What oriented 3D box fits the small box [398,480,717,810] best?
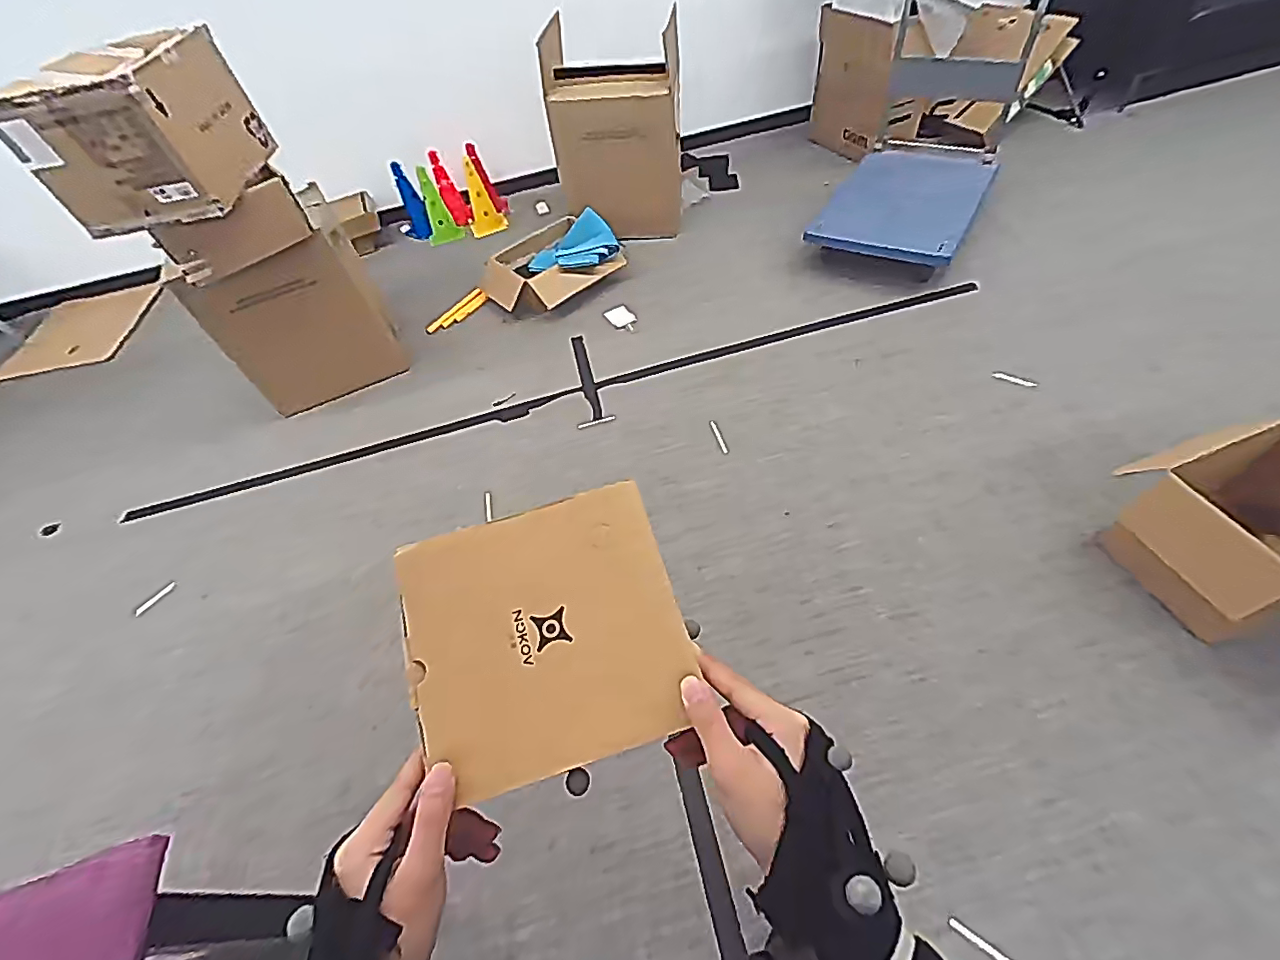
[{"bbox_3d":[-0.056,0.123,0.420,0.179,0.176,0.168,-18,68,-4],"label":"small box"}]
